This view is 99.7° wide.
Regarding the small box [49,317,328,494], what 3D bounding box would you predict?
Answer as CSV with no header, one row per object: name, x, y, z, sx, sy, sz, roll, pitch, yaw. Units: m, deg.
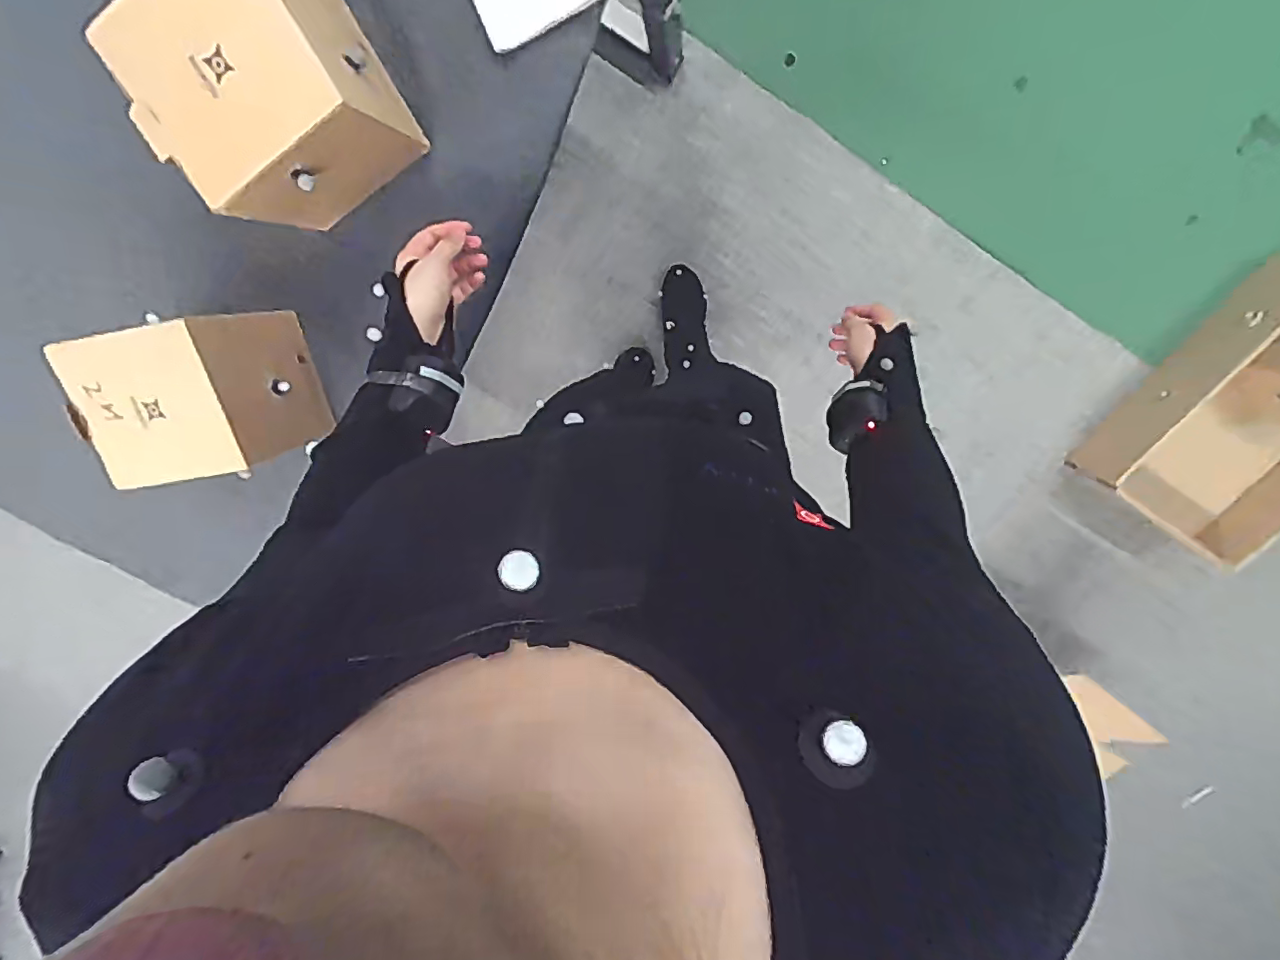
small box,-0.519,-0.098,0.659,0.179,0.176,0.168,-8,109,8

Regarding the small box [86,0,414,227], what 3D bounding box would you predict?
small box,-0.358,-0.378,0.540,0.179,0.176,0.168,-27,105,15

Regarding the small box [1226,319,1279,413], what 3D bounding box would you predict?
small box,1.456,-0.248,1.168,0.168,0.176,0.179,-40,103,18
